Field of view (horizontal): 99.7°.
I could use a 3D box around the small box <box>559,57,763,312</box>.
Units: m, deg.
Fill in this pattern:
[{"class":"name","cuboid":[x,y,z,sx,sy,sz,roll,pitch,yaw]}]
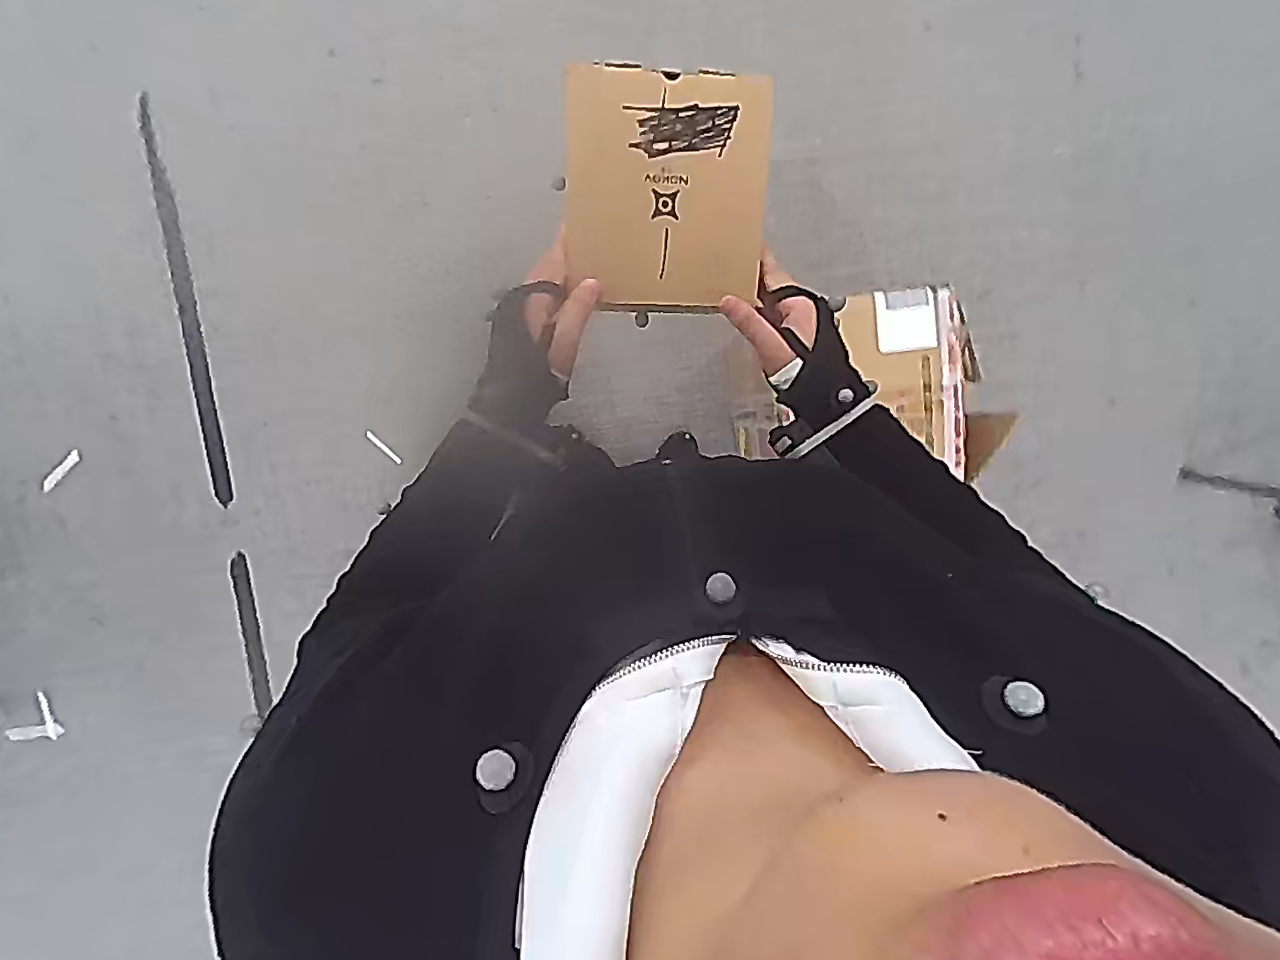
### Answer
[{"class":"small box","cuboid":[0.007,-0.258,0.517,0.168,0.176,0.179,0,105,-6]}]
